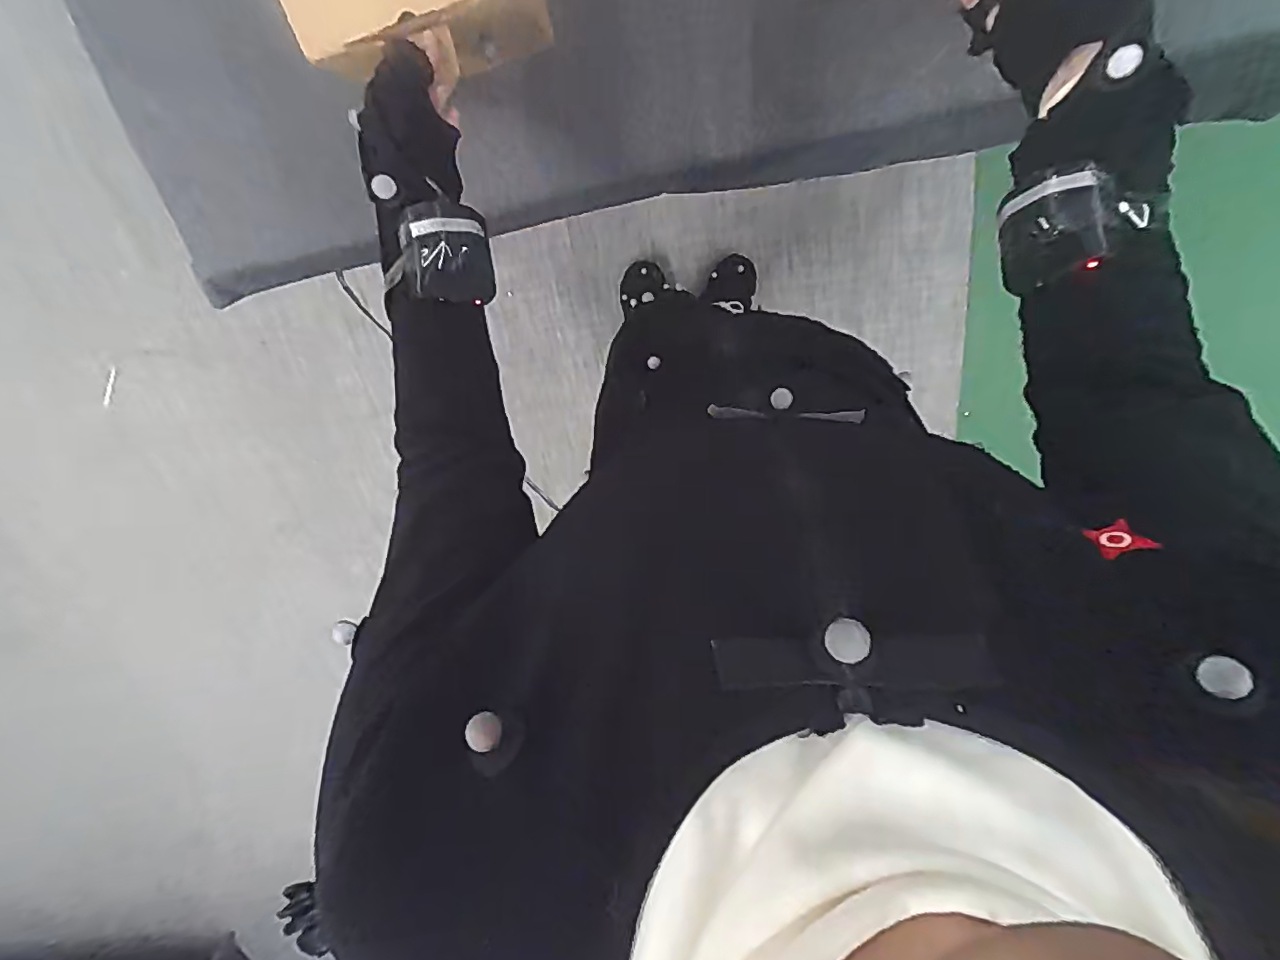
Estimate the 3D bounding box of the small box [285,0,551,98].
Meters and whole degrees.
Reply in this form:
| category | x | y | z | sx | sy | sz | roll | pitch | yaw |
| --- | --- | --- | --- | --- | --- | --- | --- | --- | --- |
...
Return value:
| category | x | y | z | sx | sy | sz | roll | pitch | yaw |
| --- | --- | --- | --- | --- | --- | --- | --- | --- | --- |
| small box | -0.185 | -0.434 | 0.431 | 0.168 | 0.176 | 0.179 | -14 | 115 | 9 |
